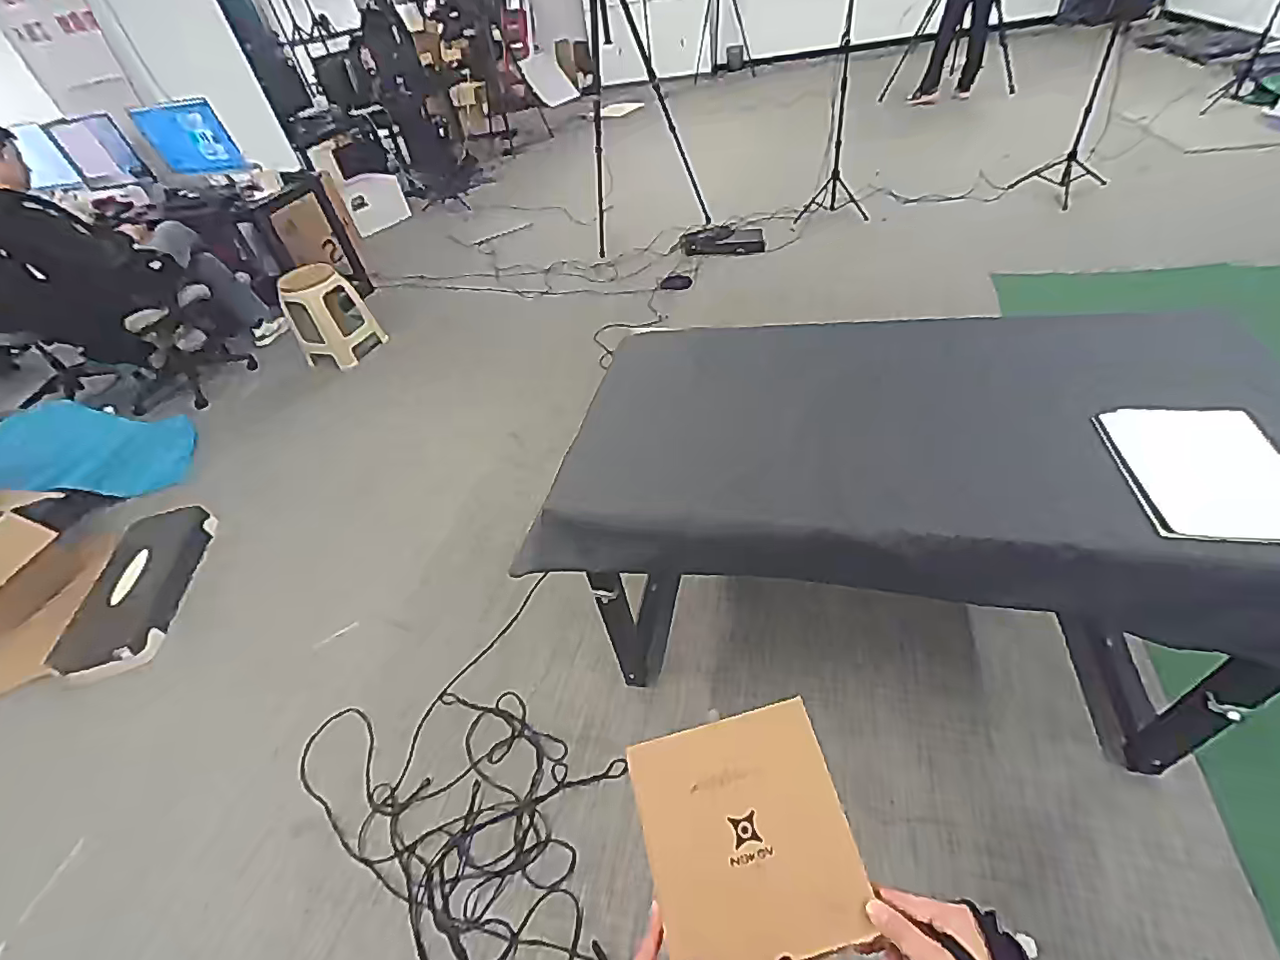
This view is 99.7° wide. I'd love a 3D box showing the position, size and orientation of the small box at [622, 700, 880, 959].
[{"bbox_3d":[0.088,0.324,0.506,0.168,0.176,0.179,-14,61,-4],"label":"small box"}]
